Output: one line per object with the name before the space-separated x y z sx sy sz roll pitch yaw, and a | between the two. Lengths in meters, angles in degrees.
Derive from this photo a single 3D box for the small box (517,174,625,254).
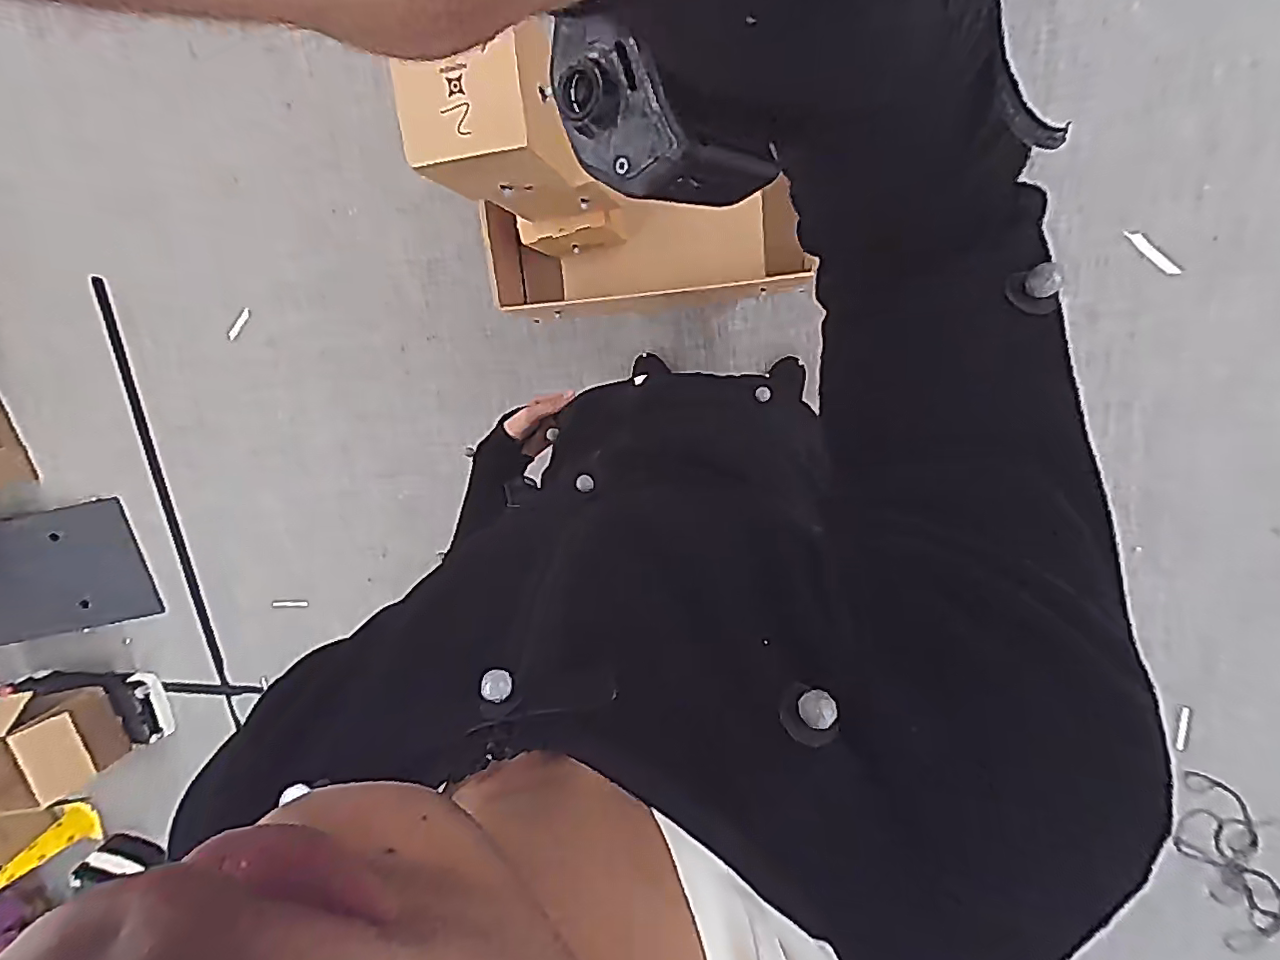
small box | -0.135 -0.551 1.031 0.168 0.176 0.179 -7 103 14

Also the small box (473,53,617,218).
small box | -0.138 -0.534 0.864 0.179 0.176 0.168 -3 103 12
